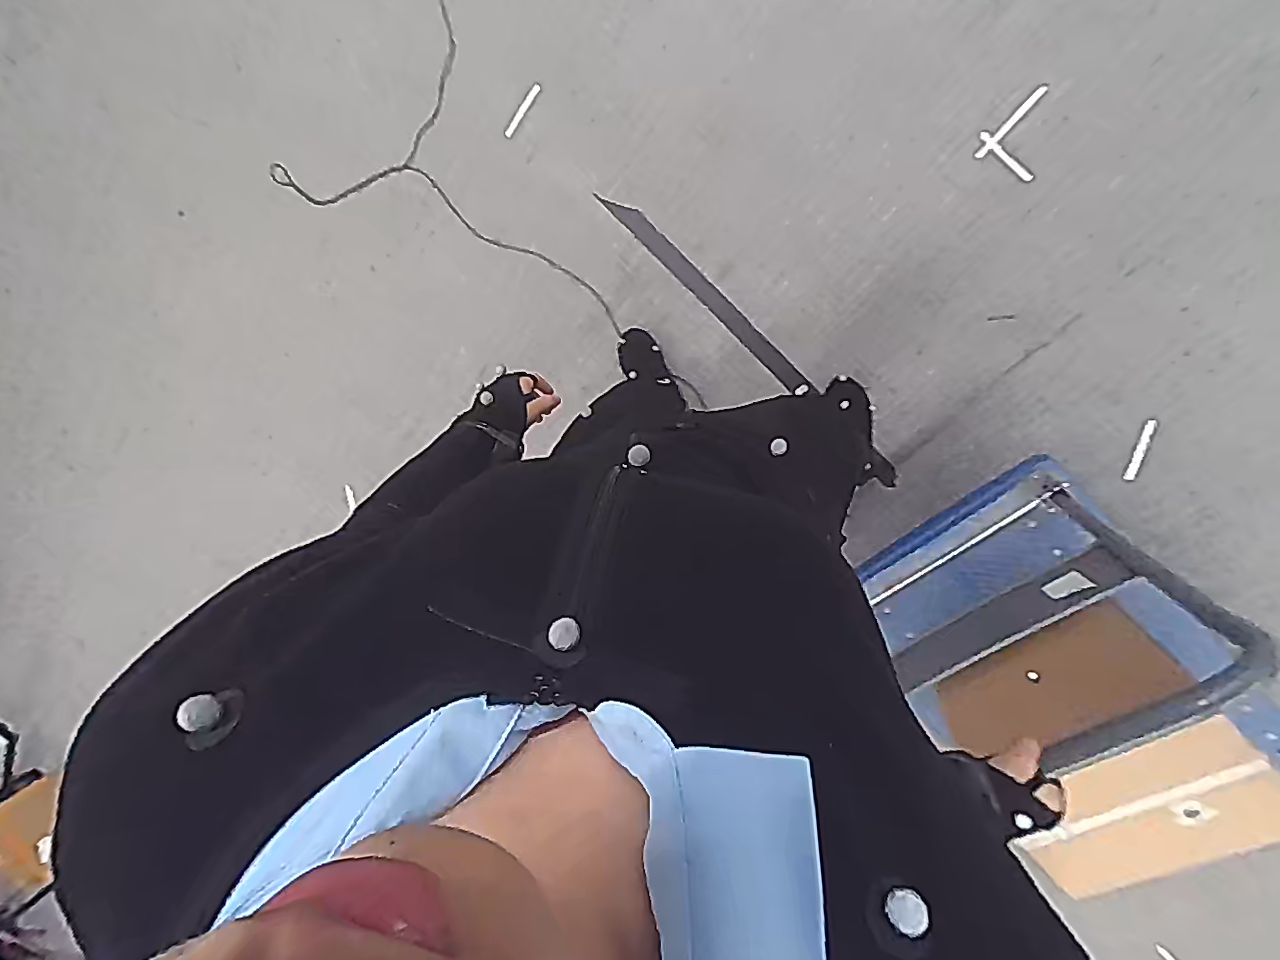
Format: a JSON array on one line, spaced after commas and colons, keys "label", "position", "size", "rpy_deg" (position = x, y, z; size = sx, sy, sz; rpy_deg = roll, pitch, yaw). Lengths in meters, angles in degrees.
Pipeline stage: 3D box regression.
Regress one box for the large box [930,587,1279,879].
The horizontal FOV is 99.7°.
[{"label": "large box", "position": [0.892, 0.495, 1.098], "size": [0.408, 0.320, 0.320], "rpy_deg": [-41, 93, 22]}]
